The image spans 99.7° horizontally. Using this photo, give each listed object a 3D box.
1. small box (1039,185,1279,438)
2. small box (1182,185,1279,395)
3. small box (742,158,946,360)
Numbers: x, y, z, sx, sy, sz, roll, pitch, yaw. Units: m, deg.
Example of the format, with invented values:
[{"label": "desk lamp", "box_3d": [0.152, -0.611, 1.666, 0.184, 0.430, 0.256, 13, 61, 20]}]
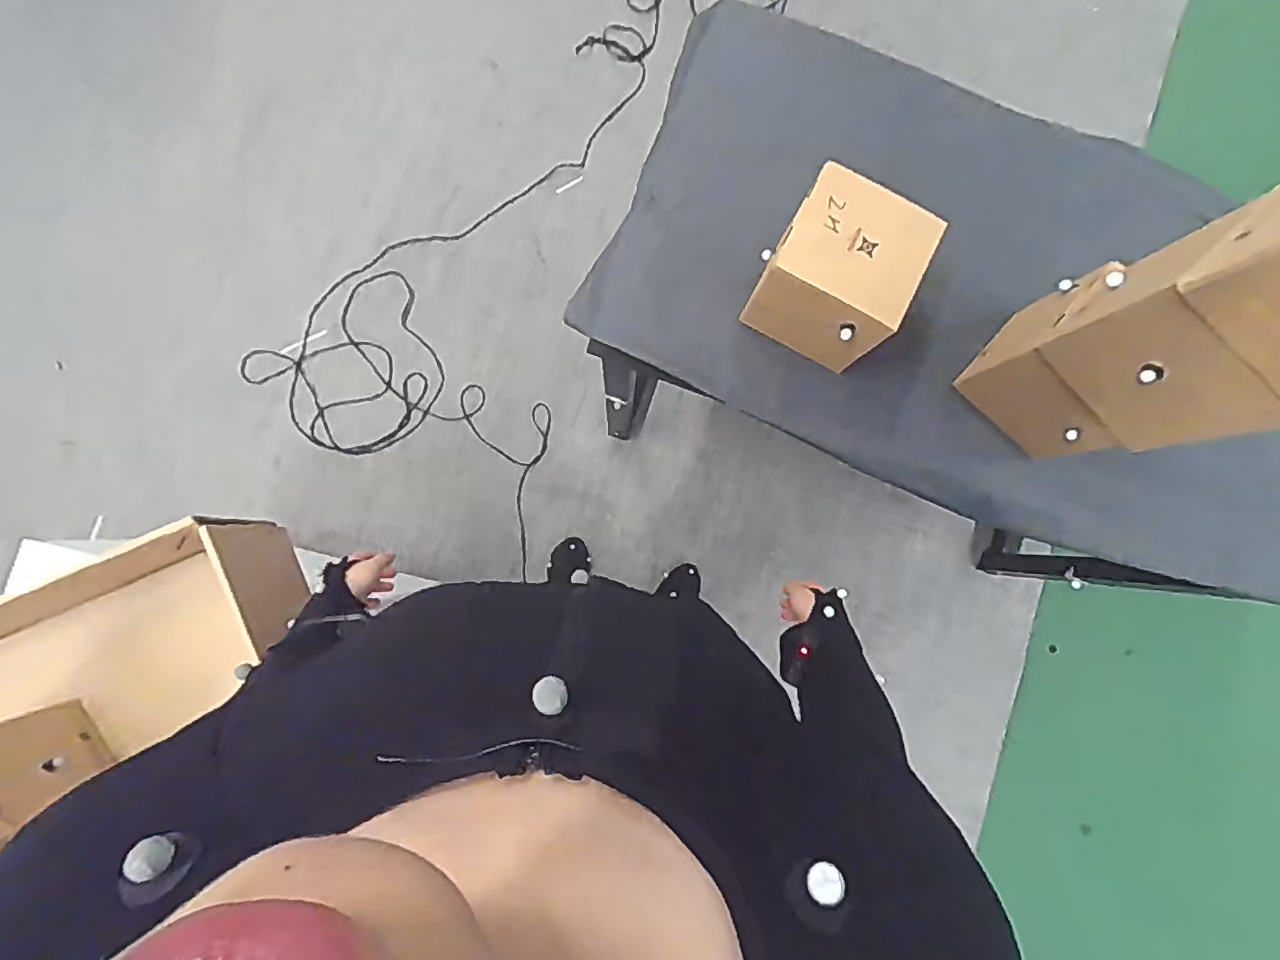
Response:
[{"label": "small box", "box_3d": [0.601, -0.161, 0.586, 0.168, 0.176, 0.179, -39, 87, -7]}, {"label": "small box", "box_3d": [0.608, -0.180, 0.424, 0.168, 0.176, 0.179, -41, 88, -7]}, {"label": "small box", "box_3d": [0.267, -0.287, 0.747, 0.179, 0.176, 0.168, 28, 82, 0]}]
